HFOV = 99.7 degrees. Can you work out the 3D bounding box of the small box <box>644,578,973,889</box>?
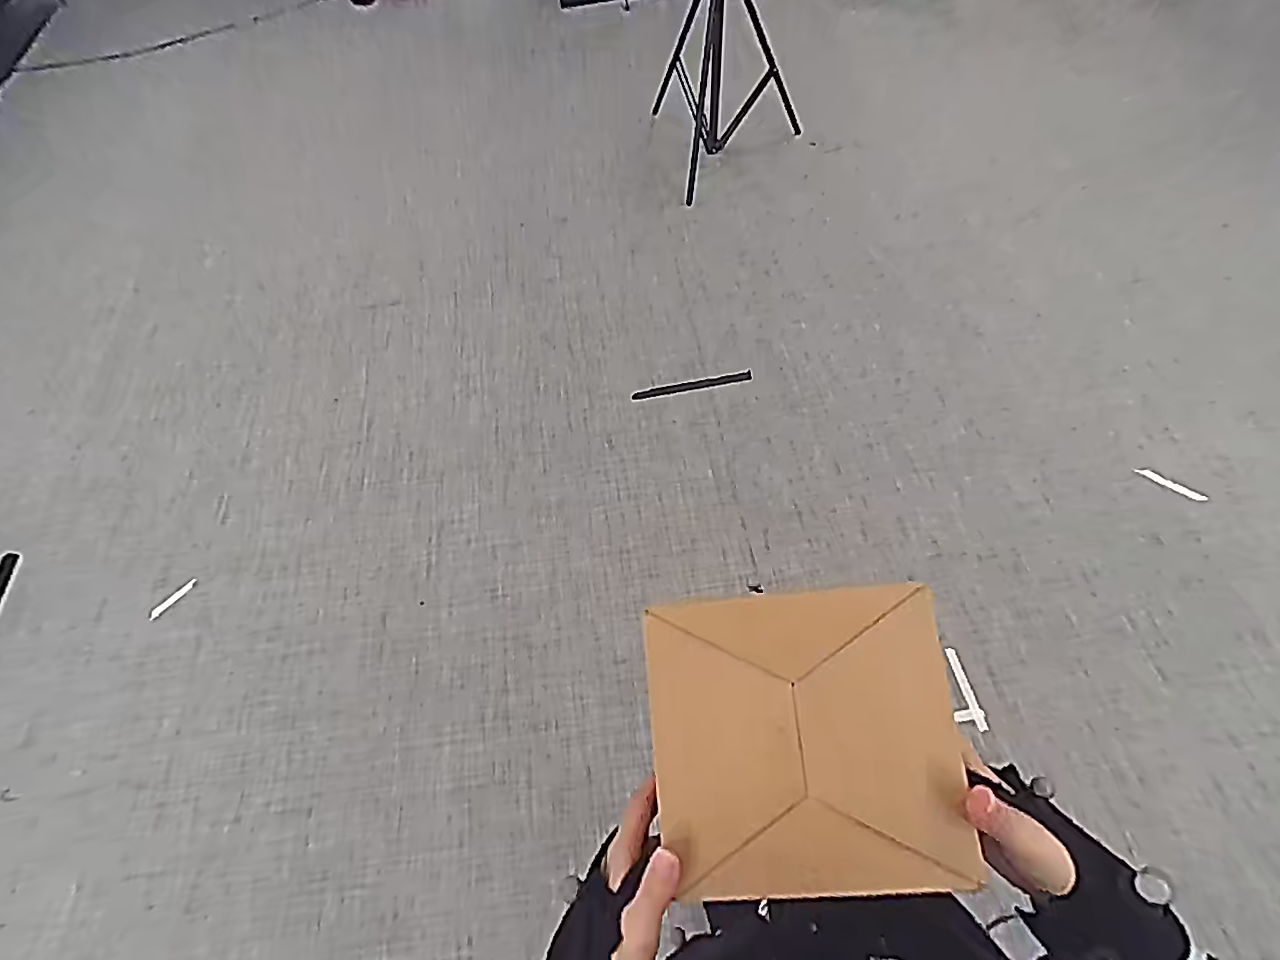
[{"bbox_3d":[0.104,0.162,0.394,0.179,0.176,0.168,-6,78,5],"label":"small box"}]
